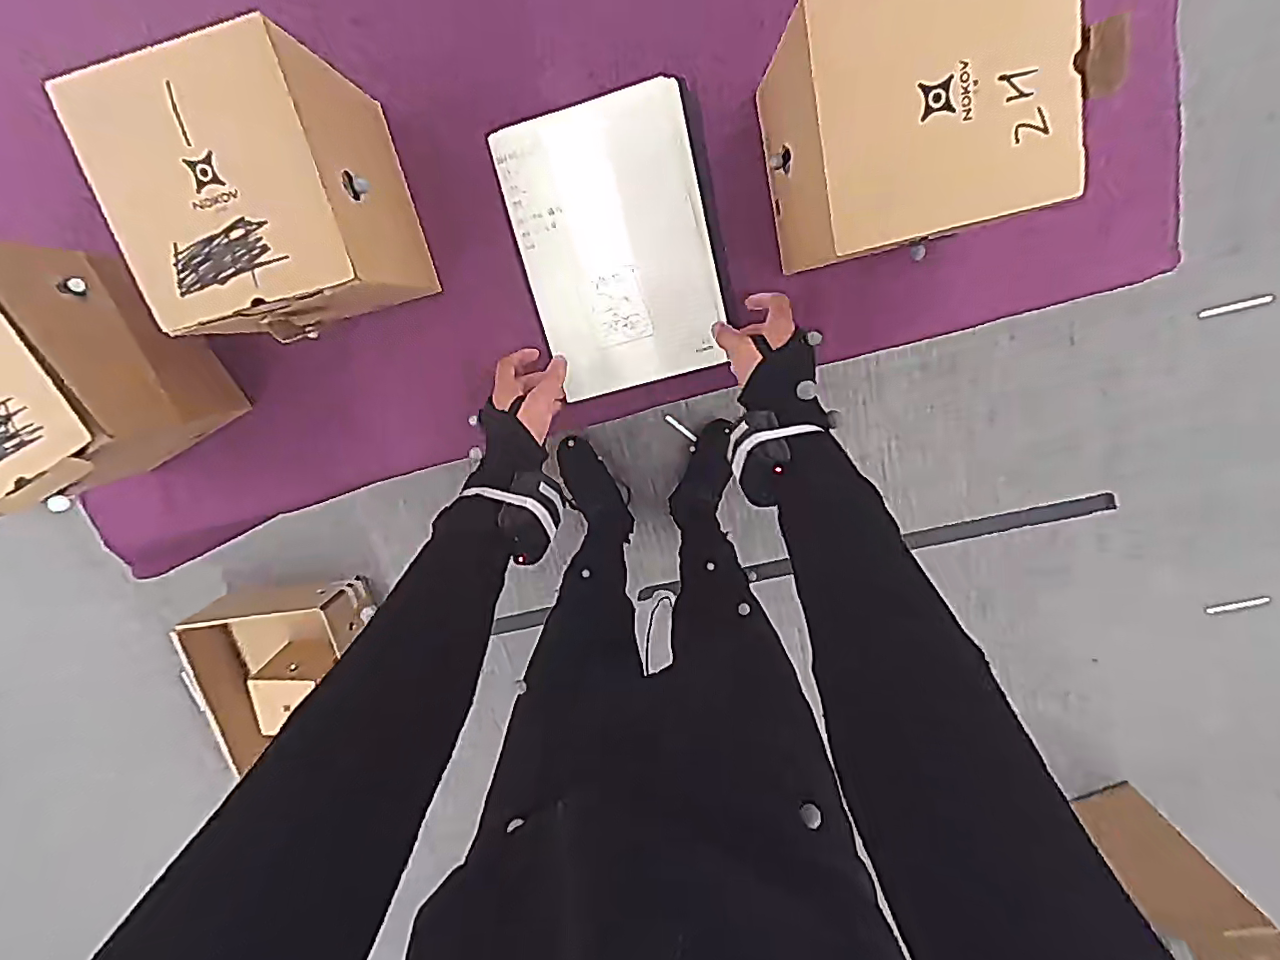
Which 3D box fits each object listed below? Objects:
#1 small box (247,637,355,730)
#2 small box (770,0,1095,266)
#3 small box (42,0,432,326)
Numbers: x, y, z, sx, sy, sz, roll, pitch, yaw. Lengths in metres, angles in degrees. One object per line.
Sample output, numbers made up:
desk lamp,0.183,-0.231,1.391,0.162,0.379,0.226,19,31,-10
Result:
small box,-0.873,0.529,1.417,0.179,0.176,0.168,0,107,1
small box,0.208,-0.278,0.430,0.179,0.176,0.168,-12,106,5
small box,-0.303,-0.238,0.456,0.168,0.176,0.179,-13,105,5
